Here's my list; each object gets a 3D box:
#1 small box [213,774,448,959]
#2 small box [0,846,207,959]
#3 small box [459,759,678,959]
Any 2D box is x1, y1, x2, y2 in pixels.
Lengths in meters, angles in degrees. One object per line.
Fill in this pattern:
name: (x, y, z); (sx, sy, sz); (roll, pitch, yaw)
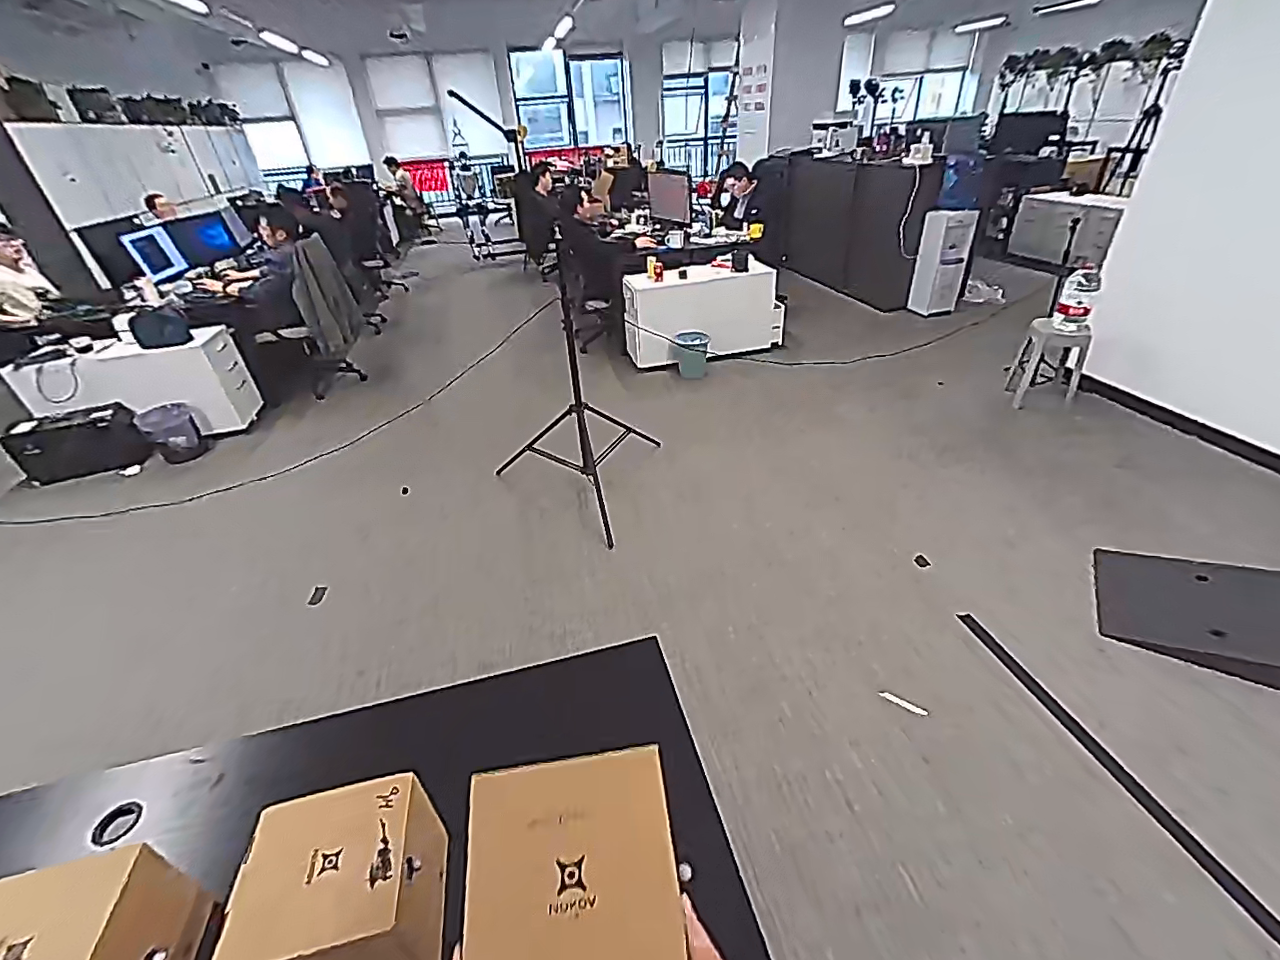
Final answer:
small box: (-0.344, 0.491, 0.640); (0.179, 0.176, 0.168); (-11, 34, -8)
small box: (-0.627, 0.546, 0.587); (0.179, 0.176, 0.168); (-11, 34, -11)
small box: (-0.057, 0.382, 0.488); (0.168, 0.176, 0.179); (-7, 46, -6)
